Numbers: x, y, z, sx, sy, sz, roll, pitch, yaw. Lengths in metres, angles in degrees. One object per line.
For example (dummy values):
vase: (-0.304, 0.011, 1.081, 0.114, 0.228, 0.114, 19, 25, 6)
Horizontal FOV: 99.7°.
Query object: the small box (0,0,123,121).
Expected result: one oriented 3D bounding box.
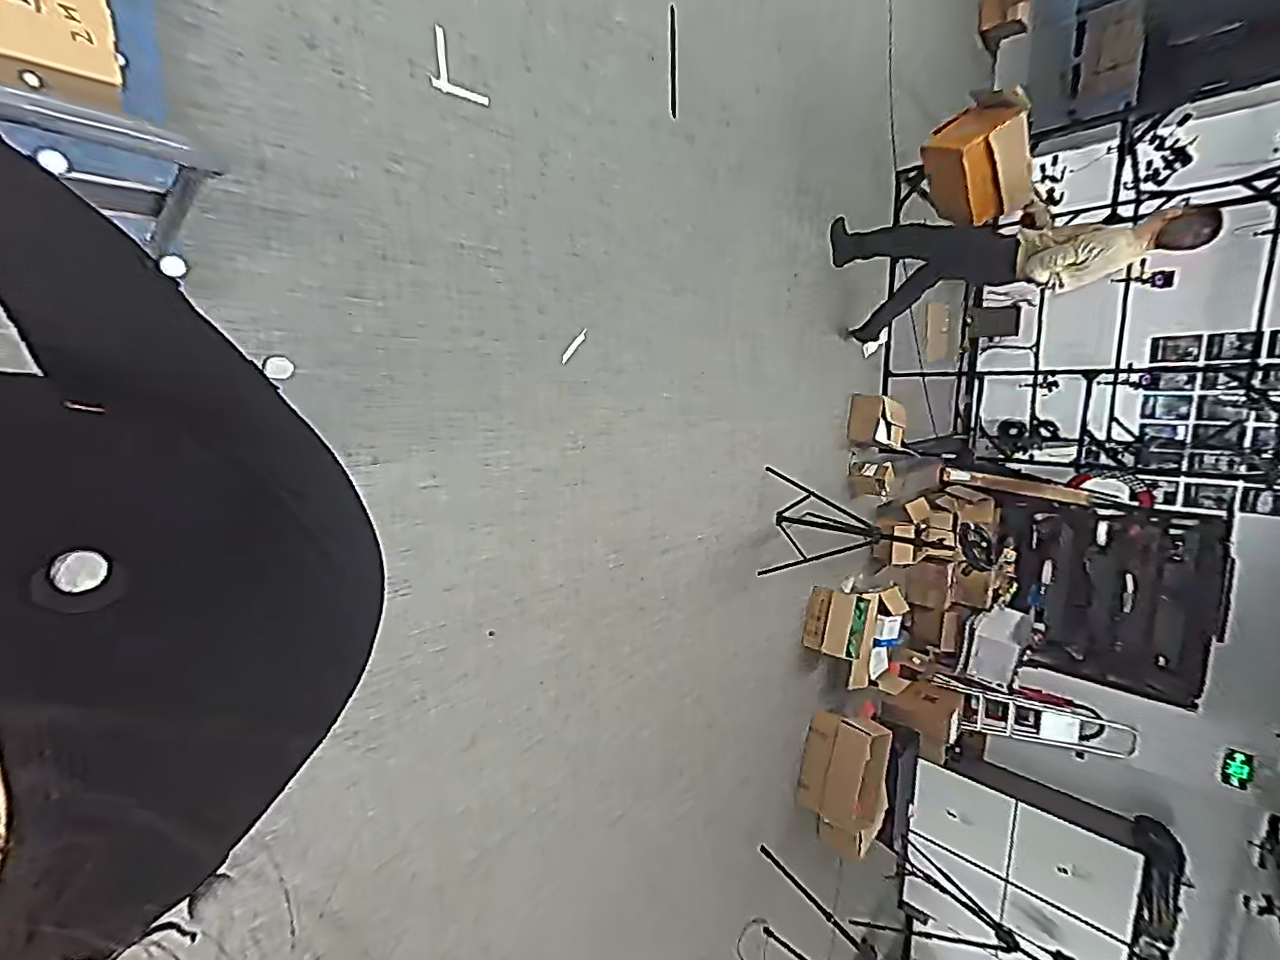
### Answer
small box: (-0.902, -0.668, 0.802, 0.179, 0.176, 0.168, -12, 106, -45)
